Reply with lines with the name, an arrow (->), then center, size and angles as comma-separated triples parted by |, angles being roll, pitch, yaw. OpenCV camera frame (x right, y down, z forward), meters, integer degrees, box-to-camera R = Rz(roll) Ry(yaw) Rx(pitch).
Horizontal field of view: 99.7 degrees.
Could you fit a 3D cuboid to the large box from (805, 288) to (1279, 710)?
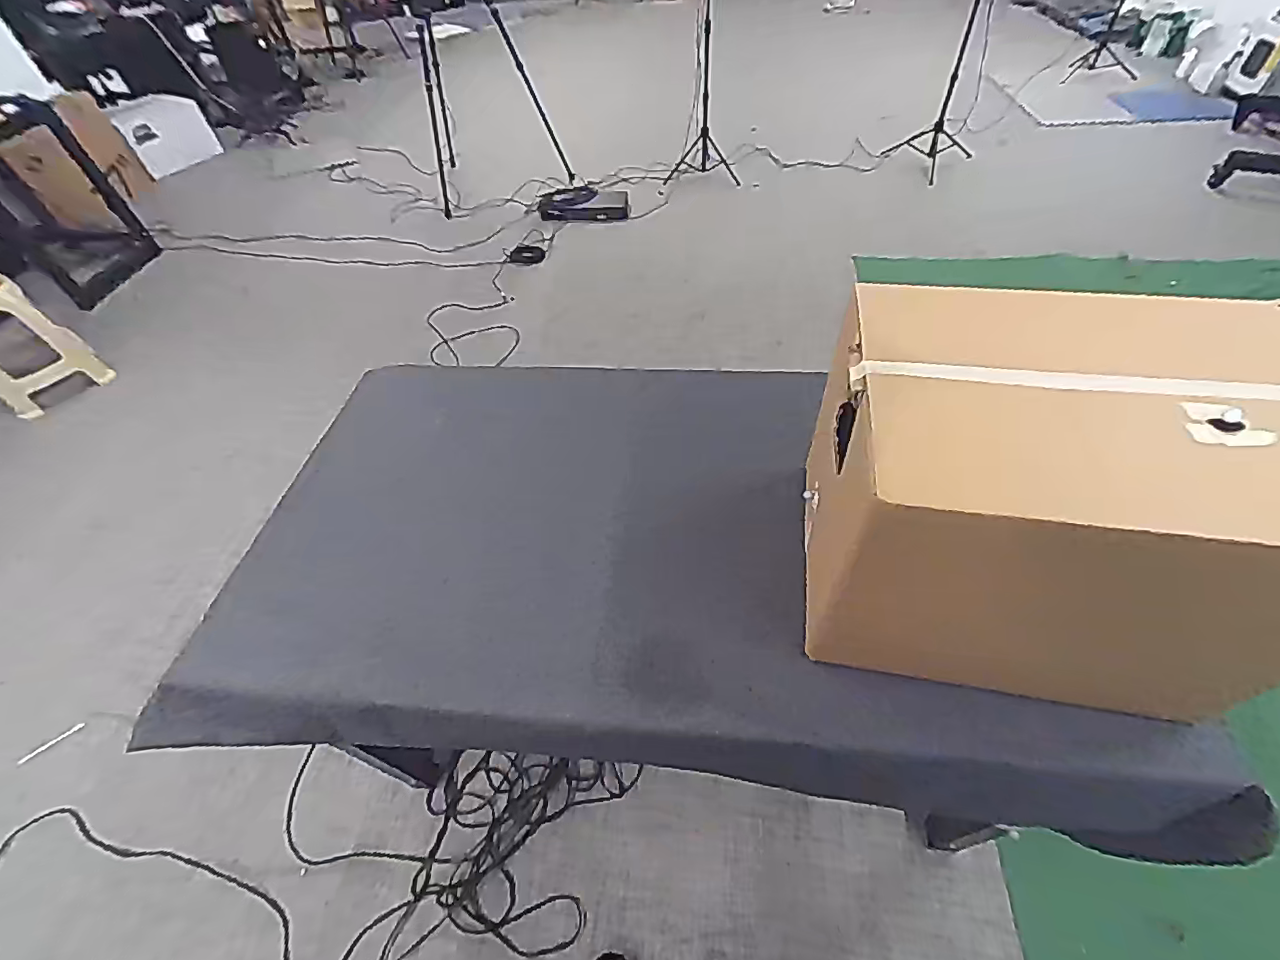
large box -> 0.413, 0.018, 0.589 | 0.408, 0.320, 0.320 | 7, 51, 9
